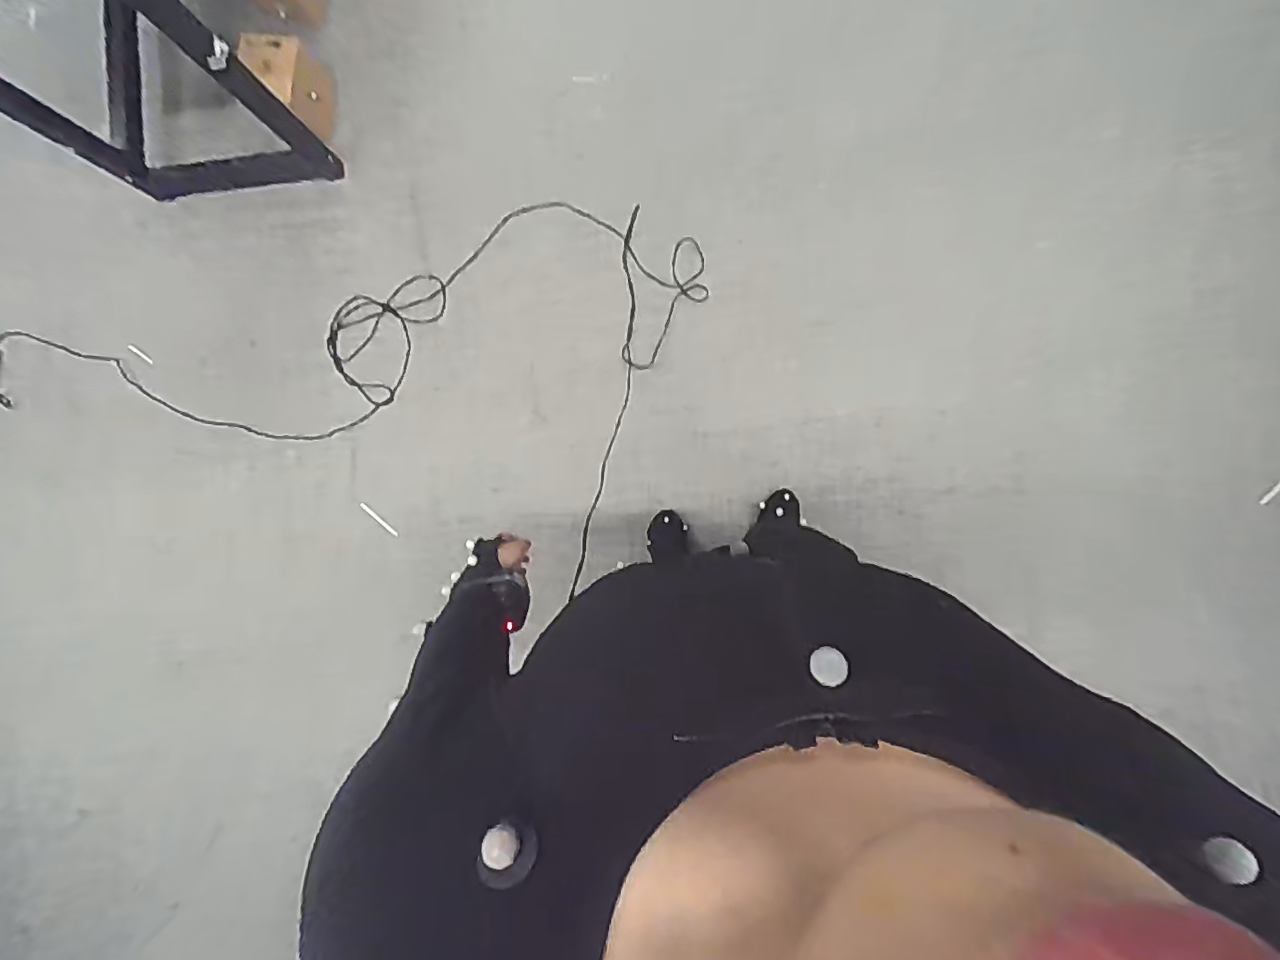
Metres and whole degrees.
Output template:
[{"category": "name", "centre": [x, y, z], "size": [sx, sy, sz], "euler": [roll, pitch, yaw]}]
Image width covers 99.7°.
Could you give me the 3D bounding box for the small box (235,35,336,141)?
[{"category": "small box", "centre": [-0.977, -1.081, 1.503], "size": [0.168, 0.176, 0.179], "euler": [8, 90, 3]}]
